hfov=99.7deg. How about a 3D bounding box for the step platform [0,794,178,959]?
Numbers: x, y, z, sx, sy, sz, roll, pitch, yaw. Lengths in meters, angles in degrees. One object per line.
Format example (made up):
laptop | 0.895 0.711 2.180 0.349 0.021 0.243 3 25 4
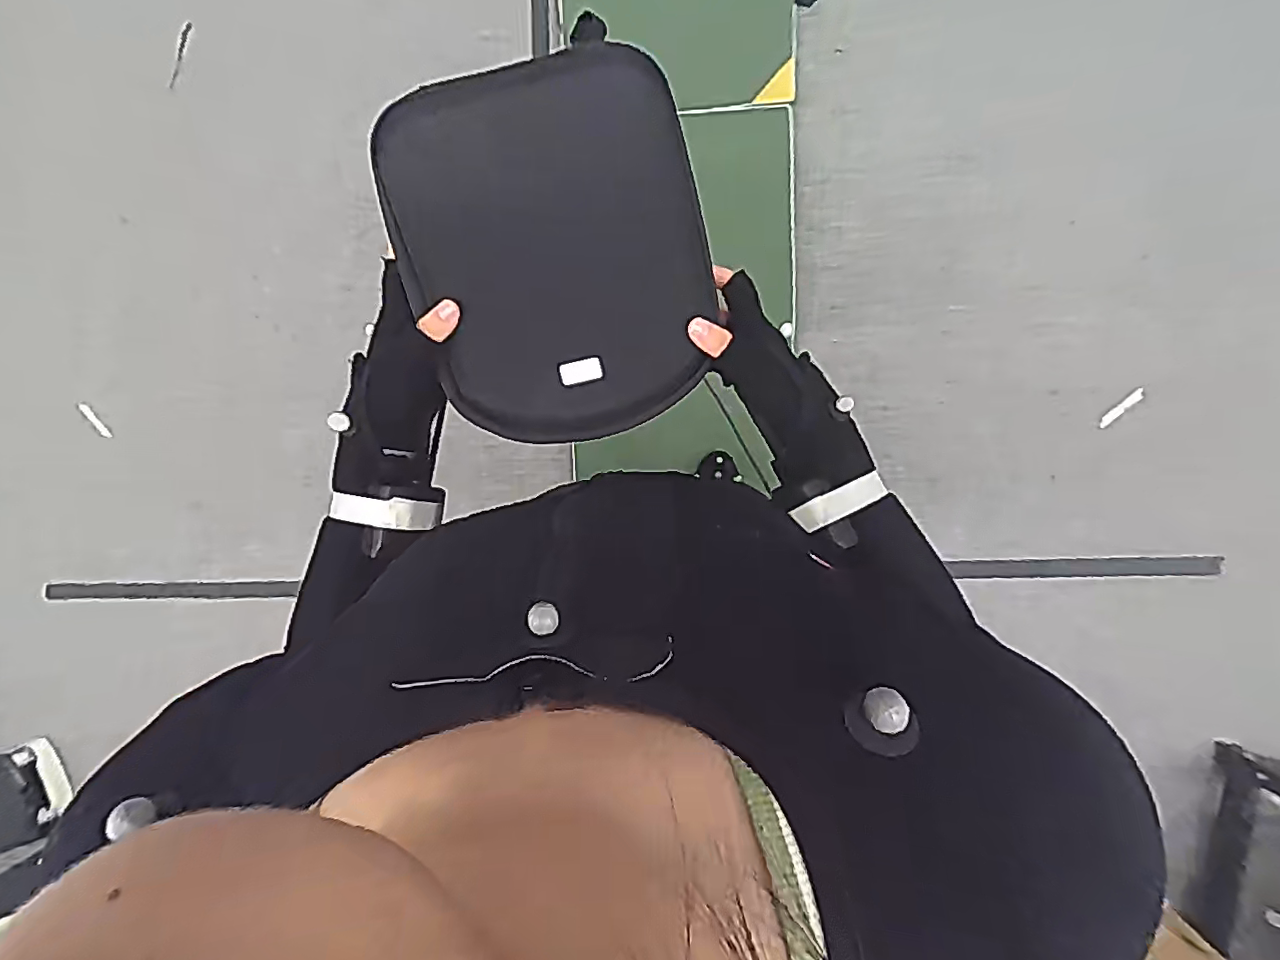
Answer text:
step platform | -1.797 1.258 1.634 0.684 0.204 0.286 -31 91 5
